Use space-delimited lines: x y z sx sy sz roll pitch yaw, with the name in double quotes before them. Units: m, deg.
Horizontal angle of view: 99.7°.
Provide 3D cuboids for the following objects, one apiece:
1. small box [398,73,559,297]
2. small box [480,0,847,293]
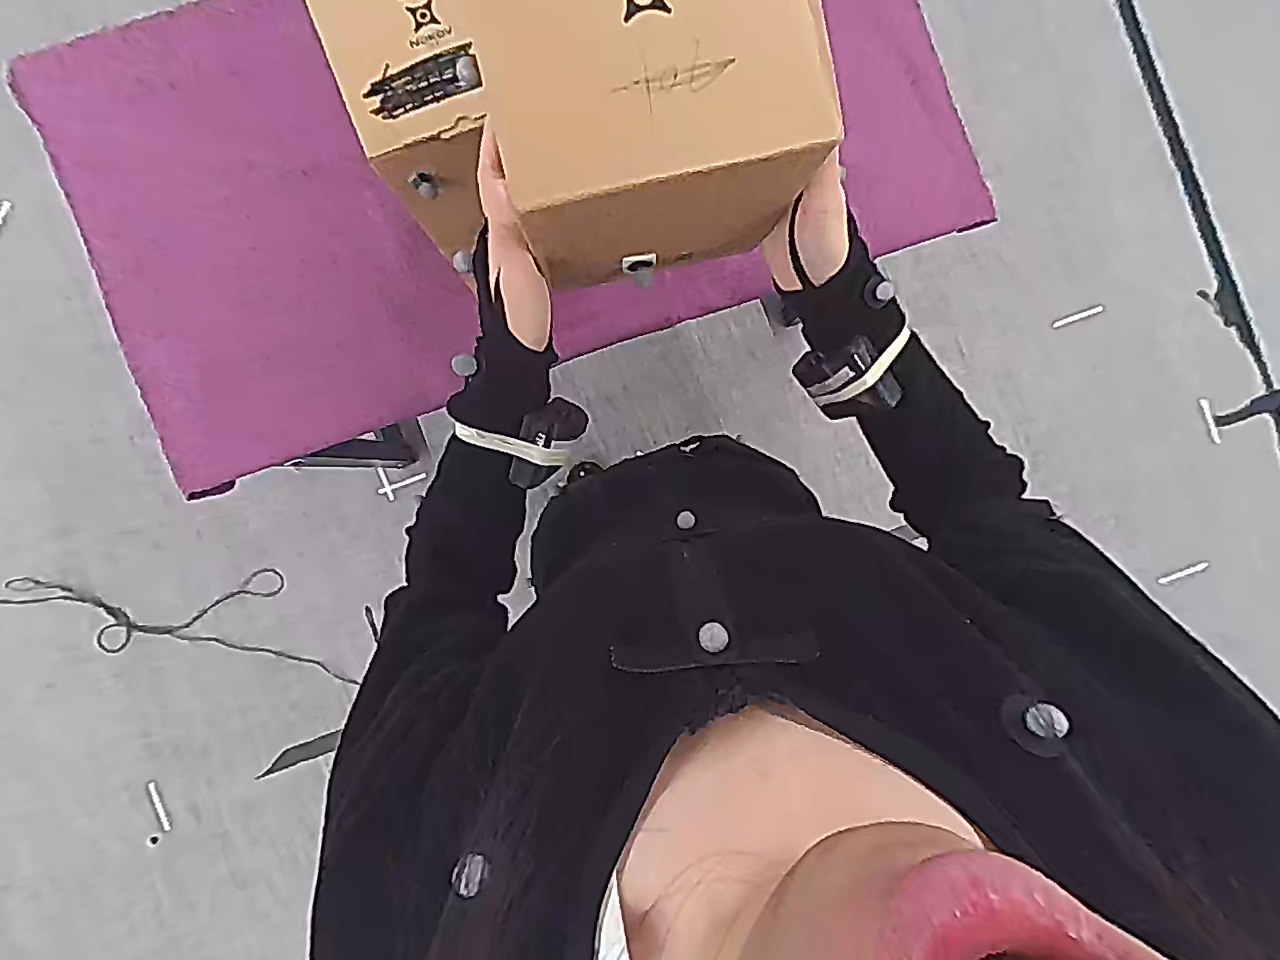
"small box" -0.169 -0.359 0.679 0.168 0.176 0.179 -18 90 -1
"small box" 0.001 -0.237 0.335 0.168 0.176 0.179 -14 97 -2
